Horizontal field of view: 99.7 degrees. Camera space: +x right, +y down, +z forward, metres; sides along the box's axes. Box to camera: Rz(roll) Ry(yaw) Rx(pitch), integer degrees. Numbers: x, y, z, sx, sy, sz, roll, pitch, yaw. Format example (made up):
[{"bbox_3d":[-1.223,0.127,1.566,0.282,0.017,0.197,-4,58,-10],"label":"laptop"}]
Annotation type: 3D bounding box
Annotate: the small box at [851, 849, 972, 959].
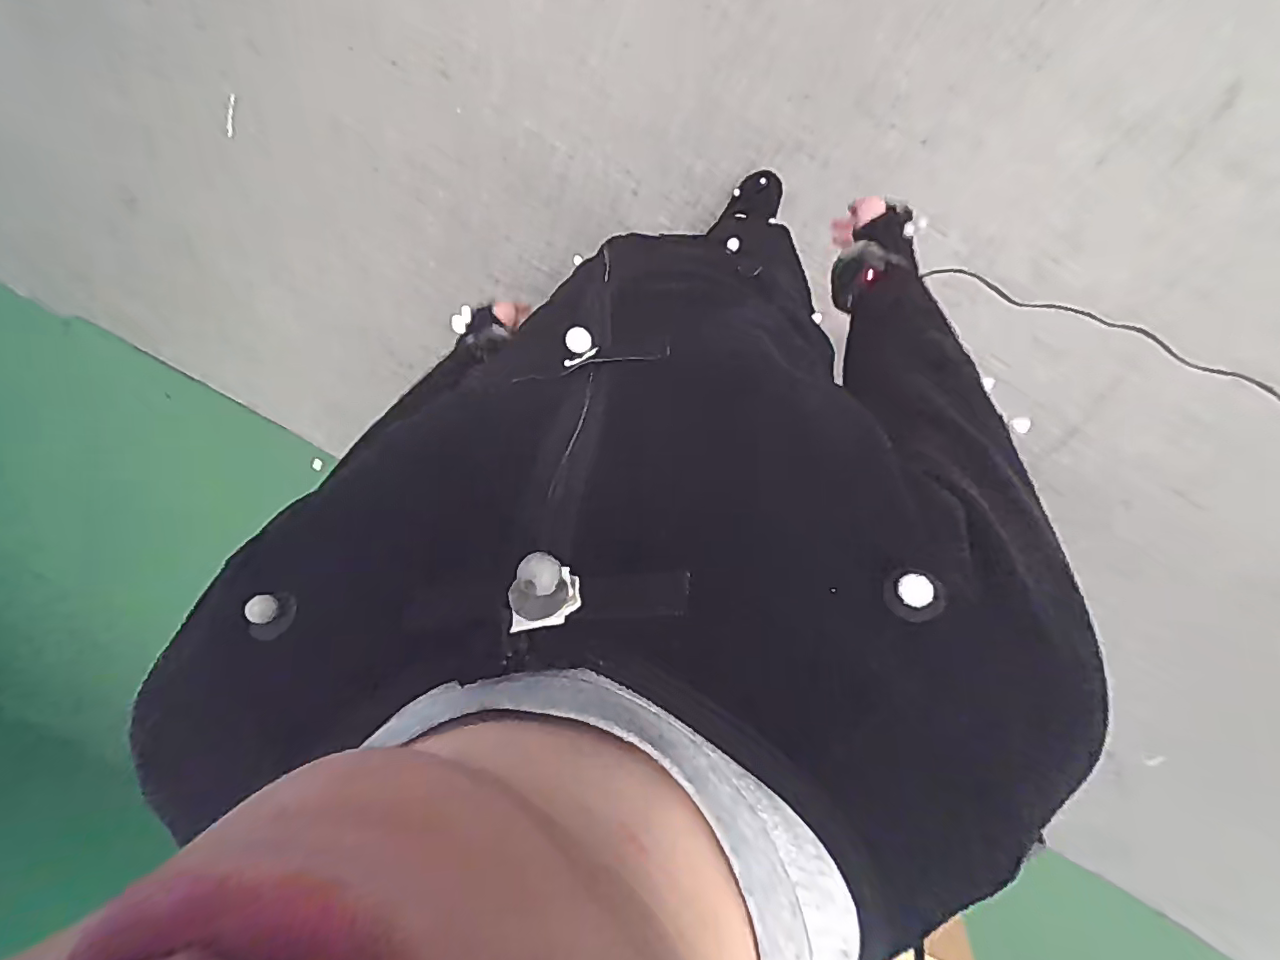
[{"bbox_3d":[0.599,0.981,1.219,0.168,0.176,0.179,30,120,-5],"label":"small box"}]
